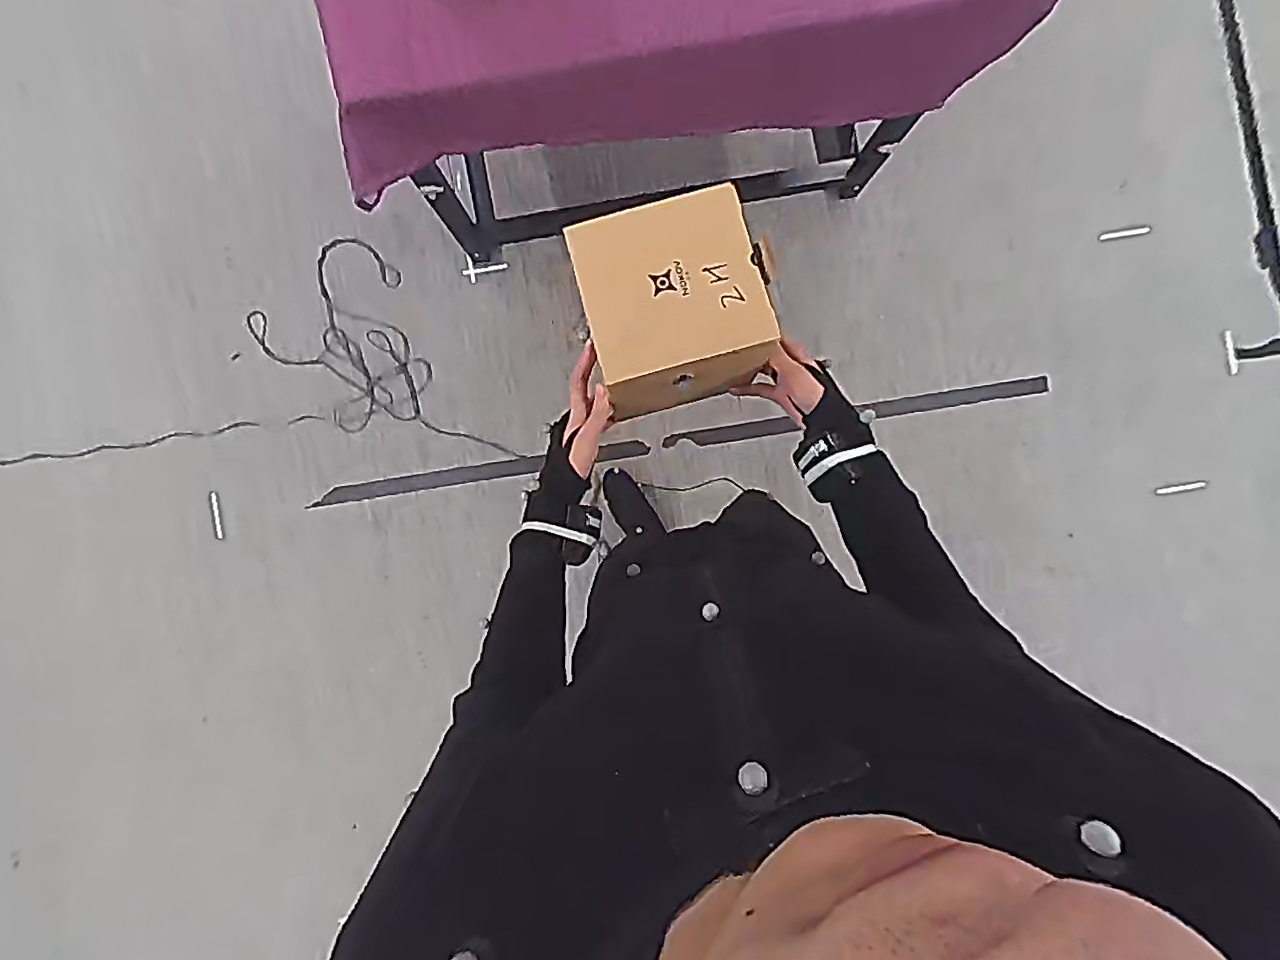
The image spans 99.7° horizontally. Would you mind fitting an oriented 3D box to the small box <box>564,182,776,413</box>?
[{"bbox_3d":[0.029,-0.185,0.601,0.179,0.176,0.168,-15,84,-2],"label":"small box"}]
